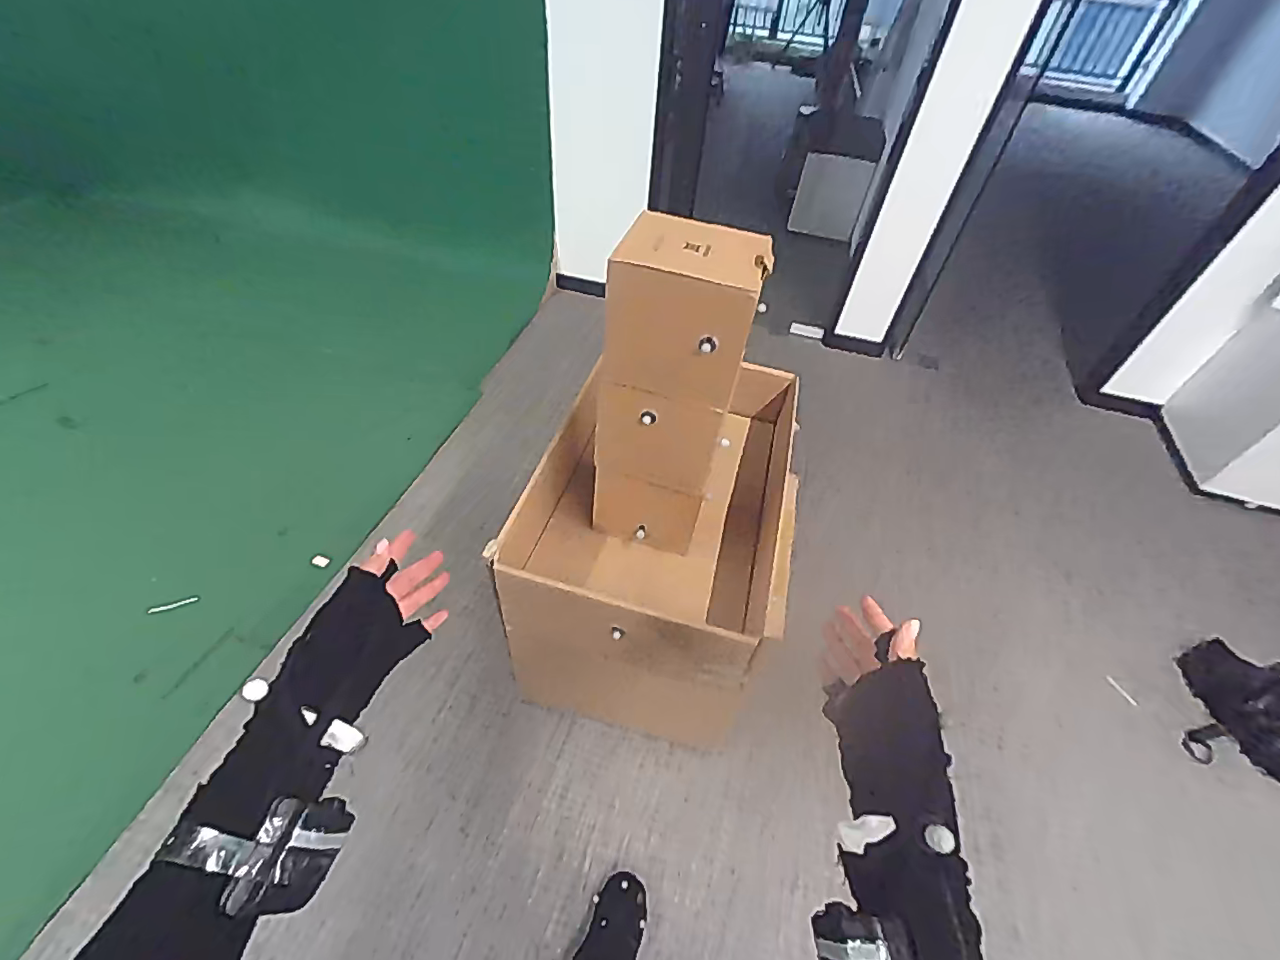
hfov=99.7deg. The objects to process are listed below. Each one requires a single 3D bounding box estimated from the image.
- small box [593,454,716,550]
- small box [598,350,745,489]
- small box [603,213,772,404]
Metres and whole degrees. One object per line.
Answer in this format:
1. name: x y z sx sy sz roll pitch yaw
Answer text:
1. small box: 0.027 -0.001 0.947 0.179 0.176 0.168 15 46 6
2. small box: 0.043 -0.110 0.826 0.179 0.176 0.168 17 47 8
3. small box: 0.059 -0.221 0.708 0.179 0.176 0.168 14 45 7
